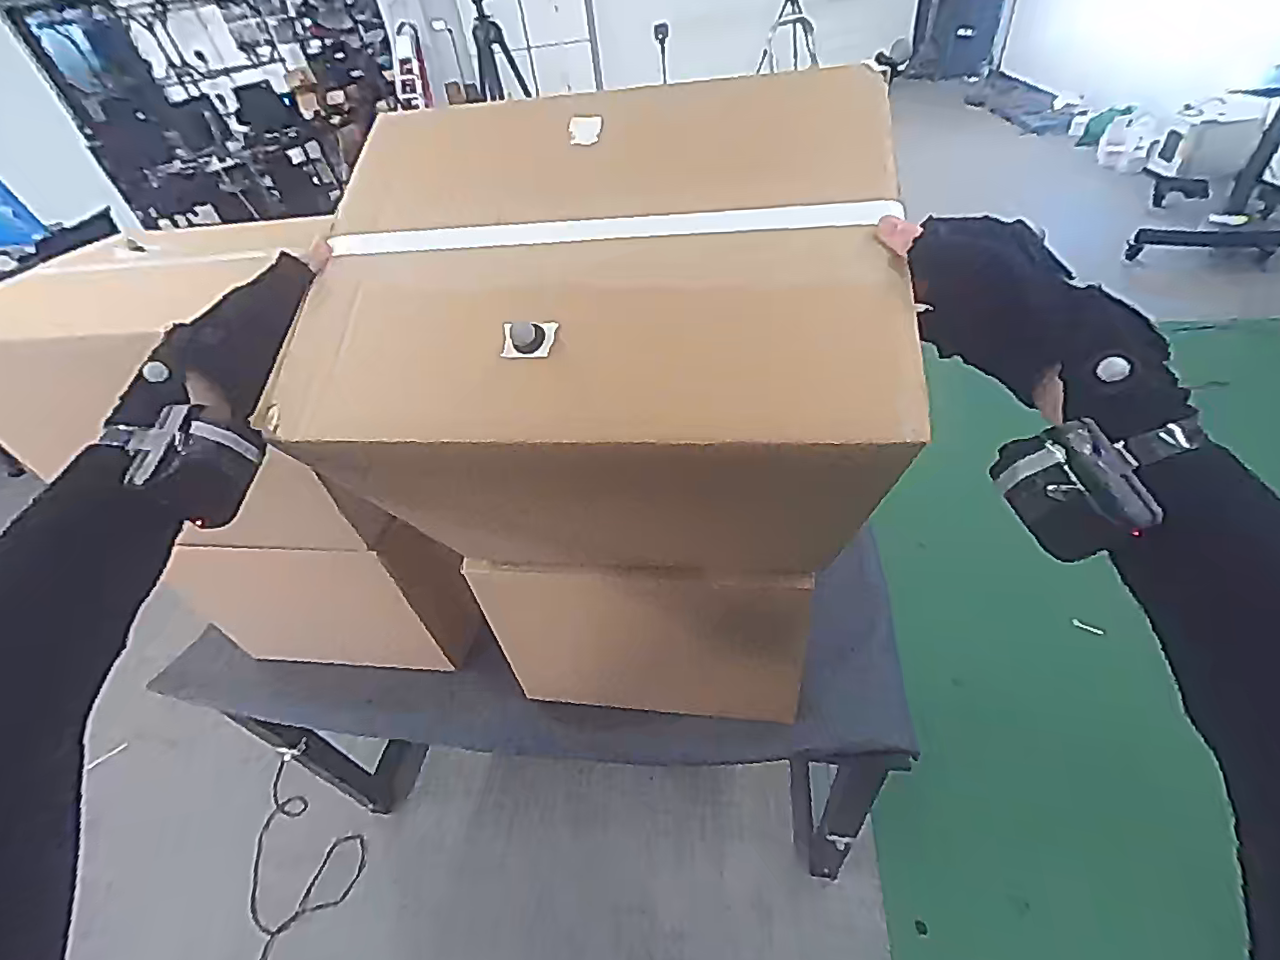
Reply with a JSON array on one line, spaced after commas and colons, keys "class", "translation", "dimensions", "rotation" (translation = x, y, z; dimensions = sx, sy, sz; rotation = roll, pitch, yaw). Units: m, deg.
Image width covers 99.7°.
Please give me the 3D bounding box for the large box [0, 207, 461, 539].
[{"class": "large box", "translation": [-0.523, -0.134, 0.725], "dimensions": [0.408, 0.320, 0.320], "rotation": [0, 43, 11]}]
